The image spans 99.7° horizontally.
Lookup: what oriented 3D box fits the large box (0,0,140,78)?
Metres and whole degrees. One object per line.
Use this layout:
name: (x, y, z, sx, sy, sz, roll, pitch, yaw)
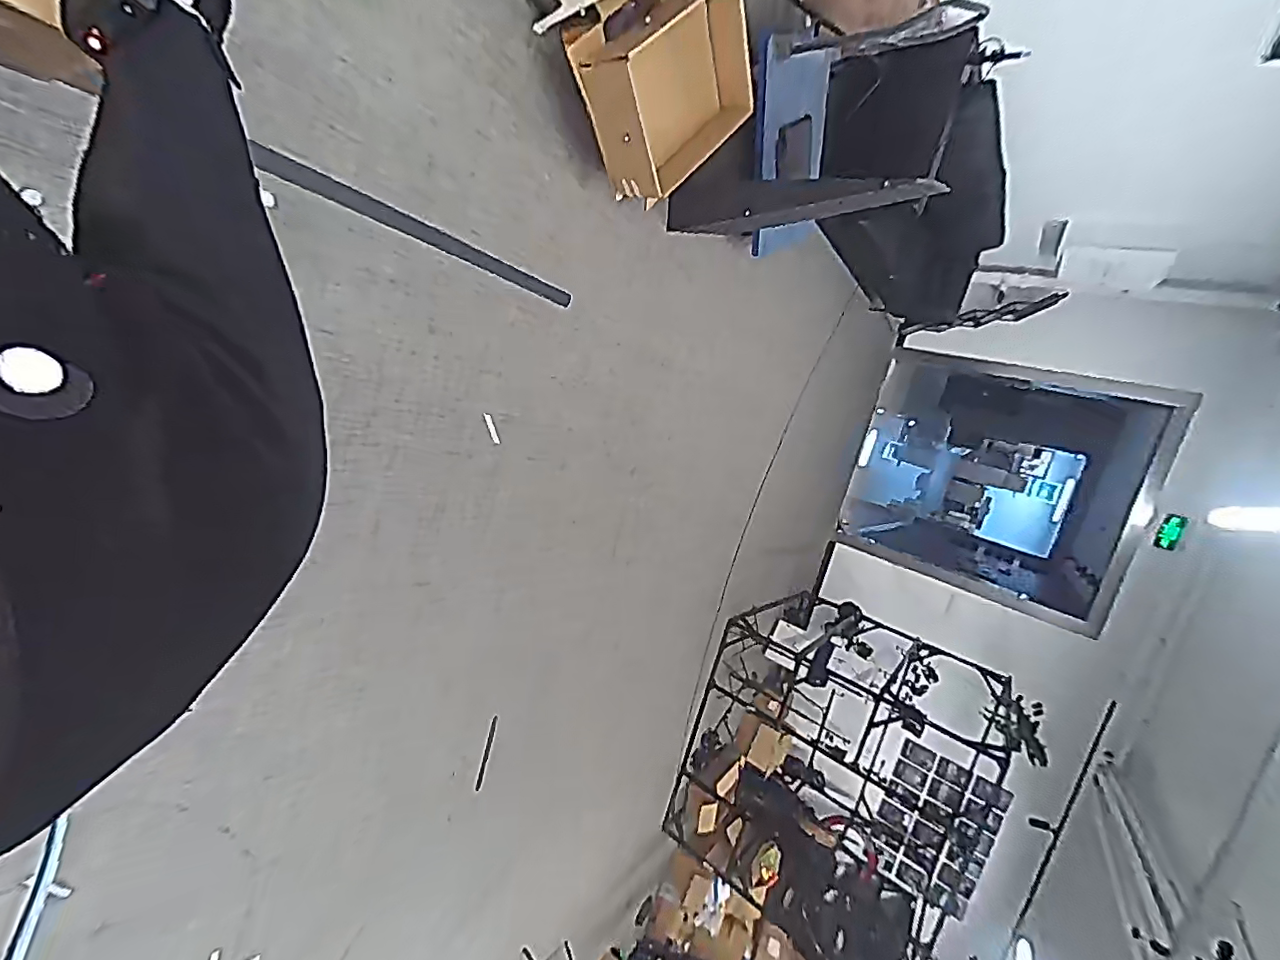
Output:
large box: (-0.615, -0.536, 0.334, 0.408, 0.320, 0.320, -2, 111, -57)
